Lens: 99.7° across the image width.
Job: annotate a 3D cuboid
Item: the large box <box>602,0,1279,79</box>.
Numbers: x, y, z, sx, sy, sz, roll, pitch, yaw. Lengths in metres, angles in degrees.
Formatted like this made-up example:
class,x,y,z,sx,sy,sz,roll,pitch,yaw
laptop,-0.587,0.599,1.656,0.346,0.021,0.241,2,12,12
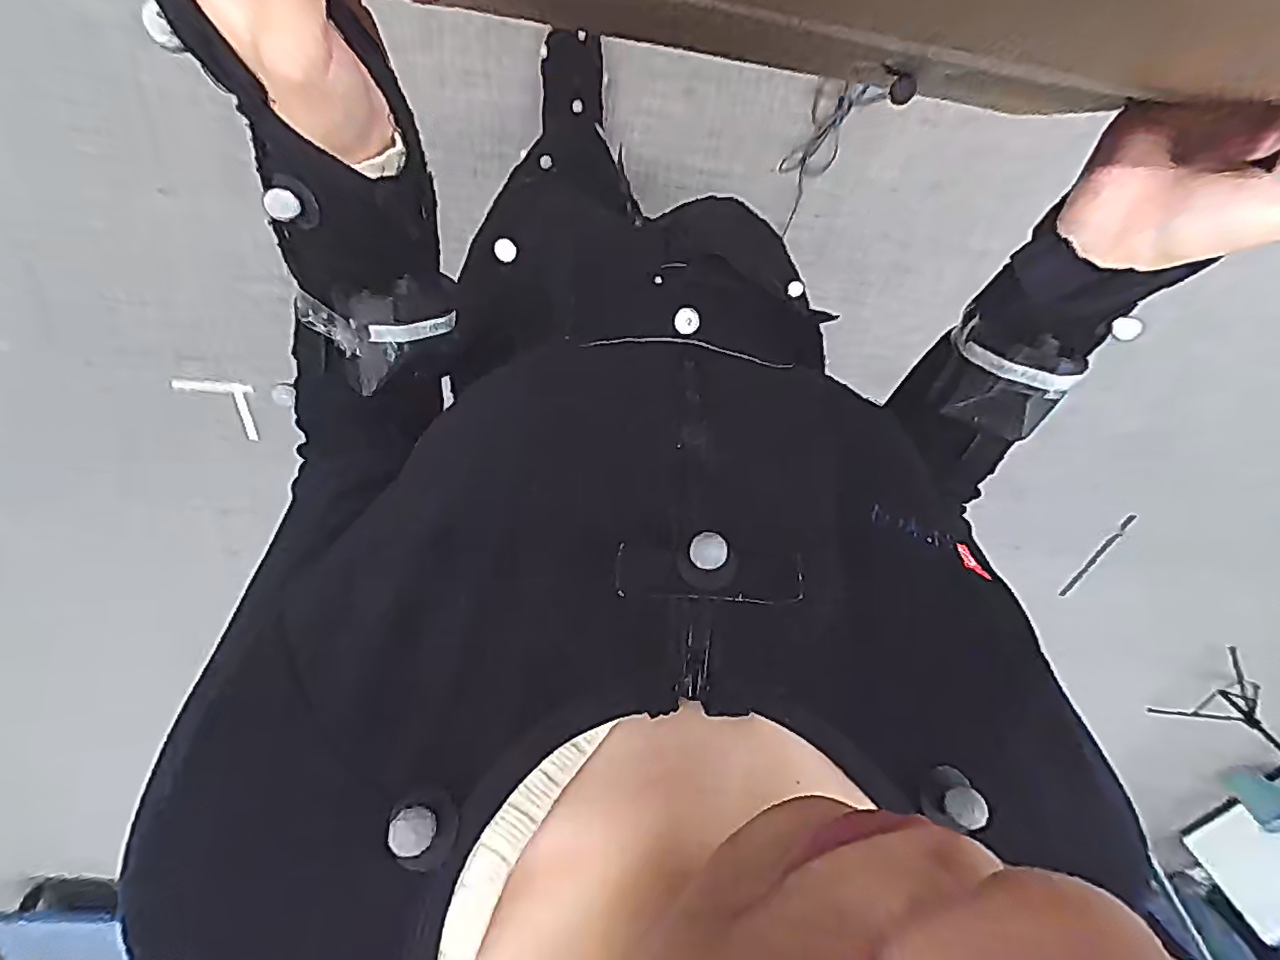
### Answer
class,x,y,z,sx,sy,sz,roll,pitch,yaw
large box,0.092,-0.326,0.128,0.408,0.320,0.320,3,124,-8
